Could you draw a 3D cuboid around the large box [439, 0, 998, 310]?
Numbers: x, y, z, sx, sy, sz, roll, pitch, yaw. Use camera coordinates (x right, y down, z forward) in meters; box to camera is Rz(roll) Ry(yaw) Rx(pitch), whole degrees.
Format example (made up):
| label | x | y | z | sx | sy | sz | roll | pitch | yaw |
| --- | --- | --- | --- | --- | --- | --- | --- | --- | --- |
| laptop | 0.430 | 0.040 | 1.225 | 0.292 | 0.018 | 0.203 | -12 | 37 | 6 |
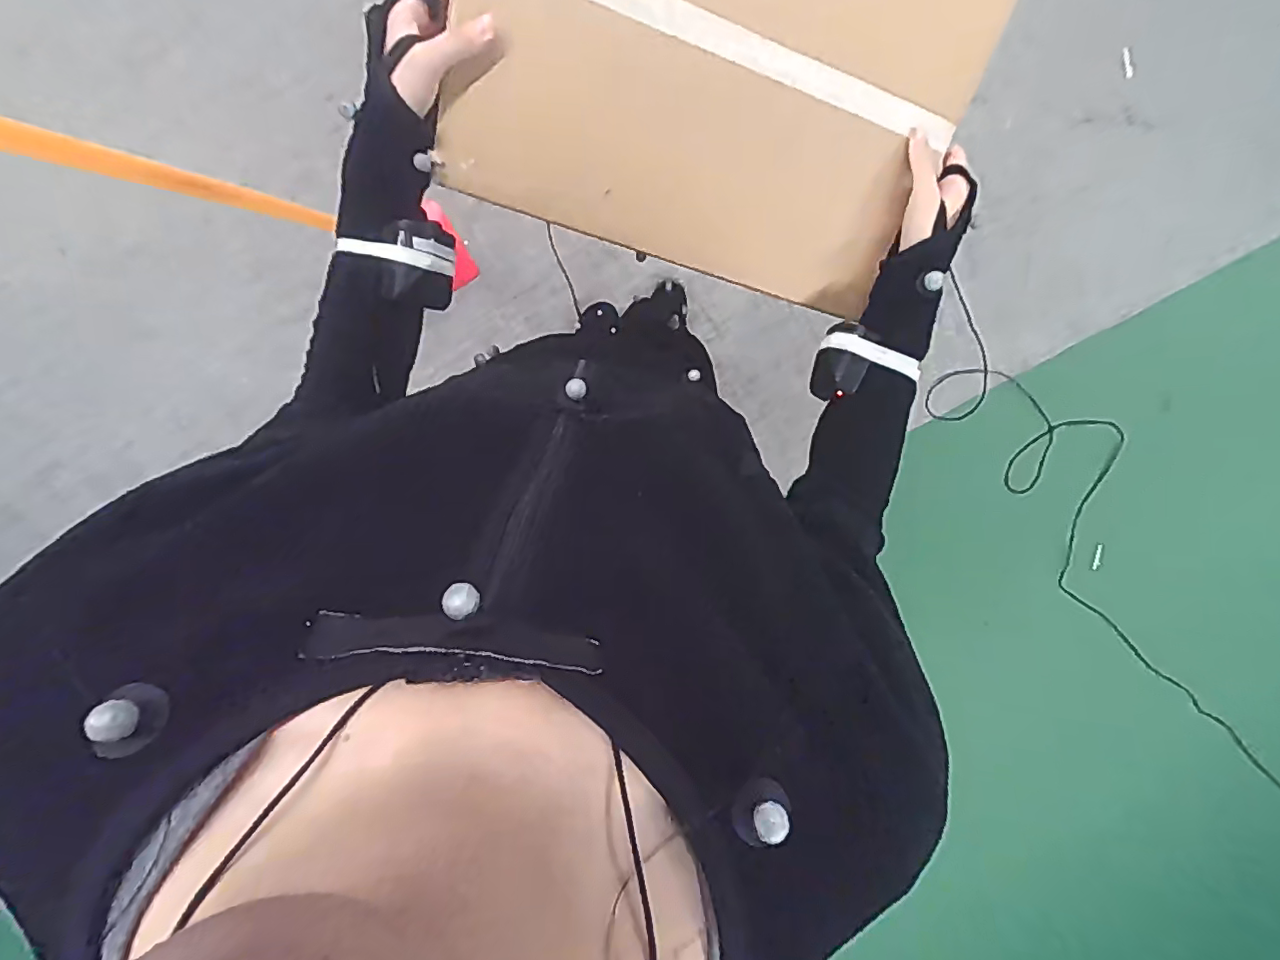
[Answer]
| label | x | y | z | sx | sy | sz | roll | pitch | yaw |
| --- | --- | --- | --- | --- | --- | --- | --- | --- | --- |
| large box | 0.051 | -0.408 | 0.555 | 0.408 | 0.320 | 0.320 | 13 | 115 | -14 |
